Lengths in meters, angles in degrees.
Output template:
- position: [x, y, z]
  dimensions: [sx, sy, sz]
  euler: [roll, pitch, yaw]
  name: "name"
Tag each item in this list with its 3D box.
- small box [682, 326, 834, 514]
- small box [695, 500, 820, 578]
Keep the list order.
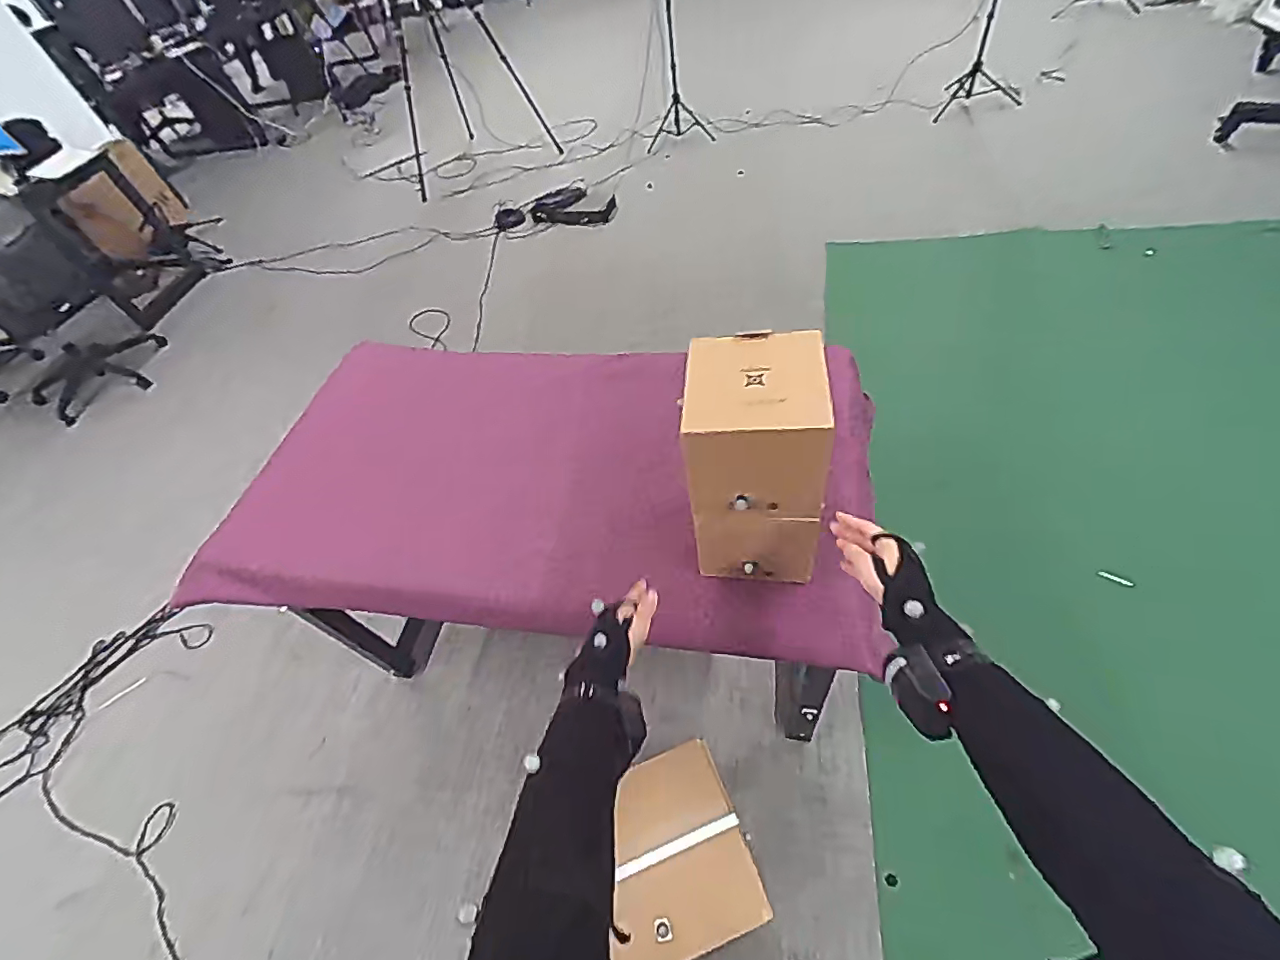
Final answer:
- position: [0.150, -0.076, 0.699]
  dimensions: [0.168, 0.176, 0.179]
  euler: [0, 51, 12]
  name: "small box"
- position: [0.179, 0.027, 0.822]
  dimensions: [0.168, 0.176, 0.179]
  euler: [2, 52, 14]
  name: "small box"
